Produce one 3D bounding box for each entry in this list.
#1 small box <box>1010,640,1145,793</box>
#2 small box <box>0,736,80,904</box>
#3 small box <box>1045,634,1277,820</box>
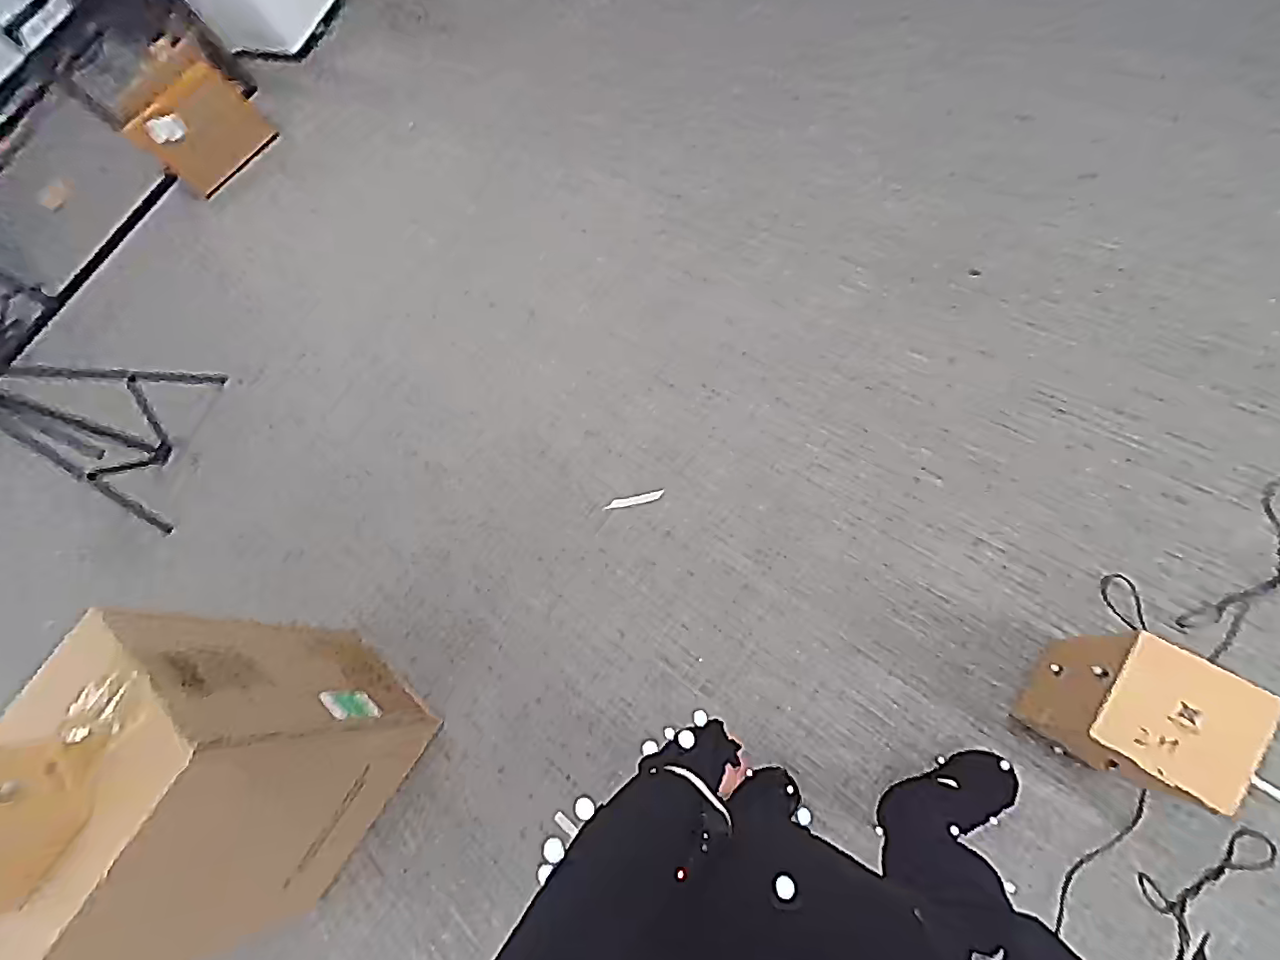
[{"bbox_3d":[0.798,0.406,0.957,0.168,0.176,0.179,33,84,24],"label":"small box"},{"bbox_3d":[-0.966,0.495,0.773,0.168,0.176,0.179,32,83,24],"label":"small box"},{"bbox_3d":[0.753,0.353,0.807,0.168,0.176,0.179,31,83,25],"label":"small box"}]
